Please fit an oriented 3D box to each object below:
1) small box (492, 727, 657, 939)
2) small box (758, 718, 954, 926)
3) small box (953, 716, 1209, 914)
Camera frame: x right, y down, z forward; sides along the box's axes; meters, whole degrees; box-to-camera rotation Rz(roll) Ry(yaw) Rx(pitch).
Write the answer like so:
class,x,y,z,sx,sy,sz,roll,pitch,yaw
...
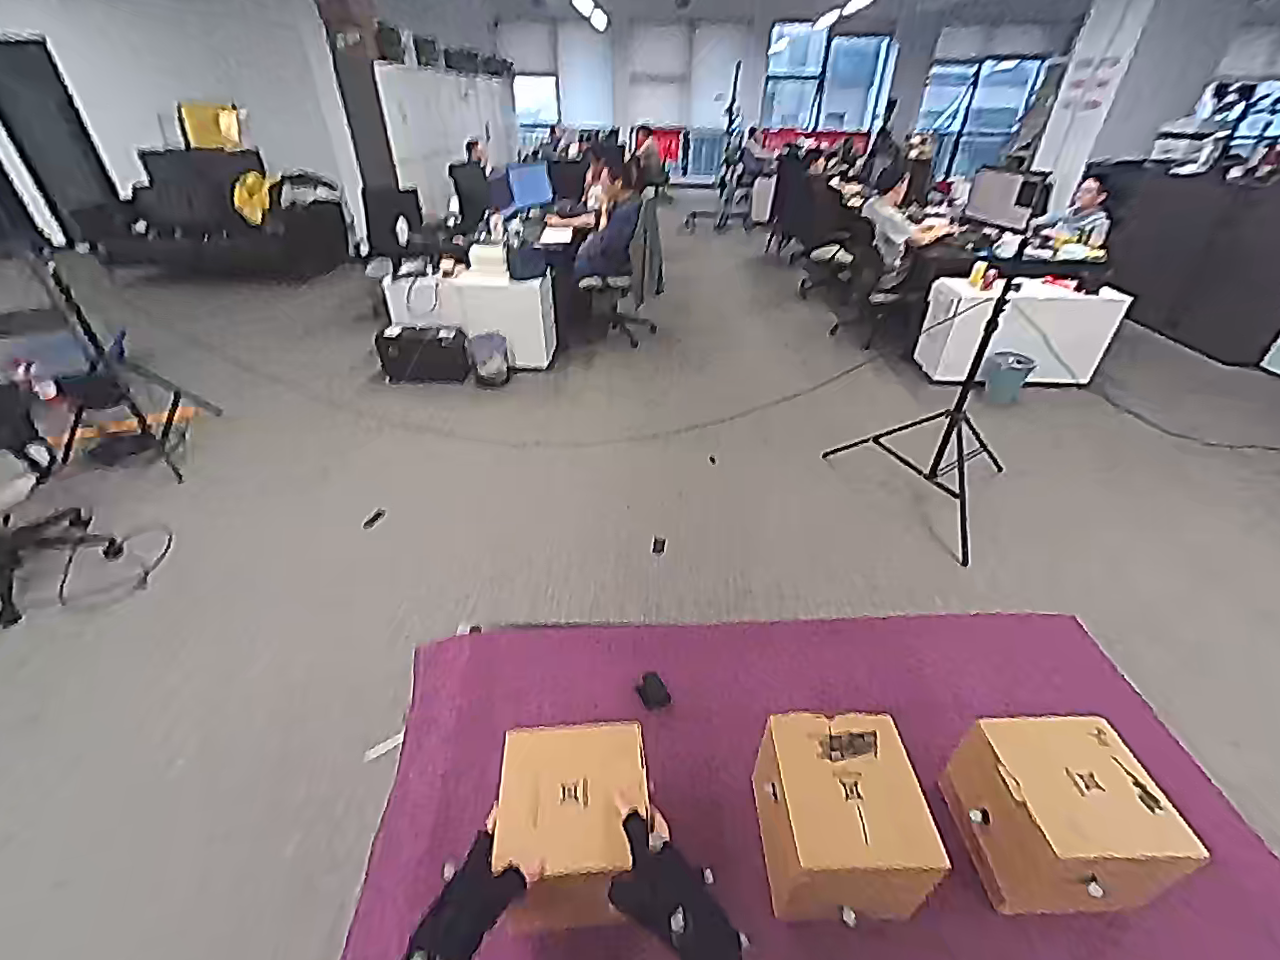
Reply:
class,x,y,z,sx,sy,sz,roll,pitch,yaw
small box,-0.075,0.439,0.679,0.179,0.176,0.168,-4,33,-4
small box,0.254,0.431,0.690,0.168,0.176,0.179,0,35,0
small box,0.535,0.429,0.696,0.179,0.176,0.168,-2,34,-1
